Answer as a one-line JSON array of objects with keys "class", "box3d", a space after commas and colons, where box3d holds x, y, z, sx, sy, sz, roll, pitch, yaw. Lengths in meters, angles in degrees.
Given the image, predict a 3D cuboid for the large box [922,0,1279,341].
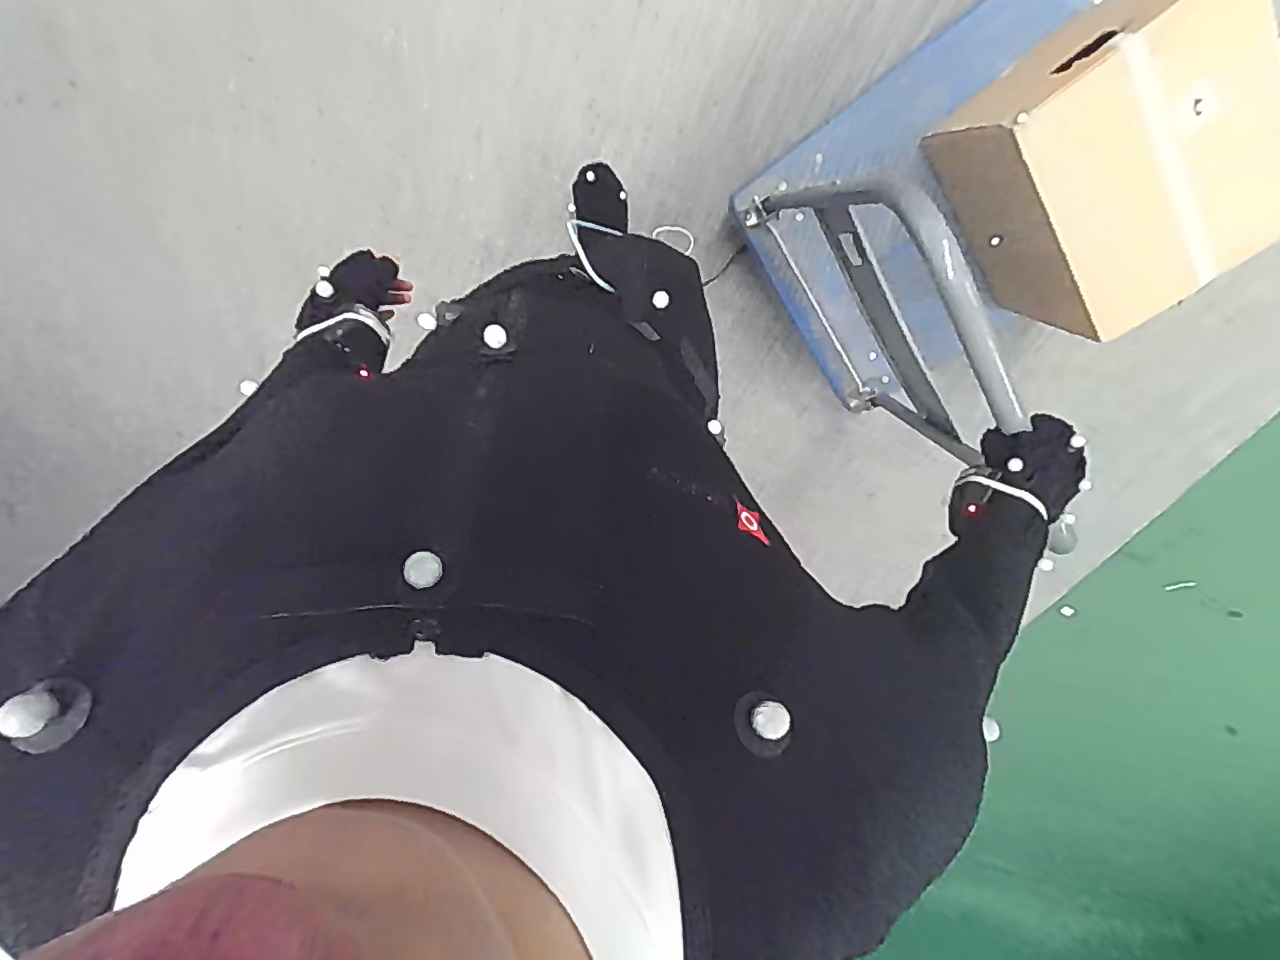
[{"class": "large box", "box3d": [0.771, -0.519, 0.925, 0.320, 0.320, 0.408, -36, 112, 18]}]
